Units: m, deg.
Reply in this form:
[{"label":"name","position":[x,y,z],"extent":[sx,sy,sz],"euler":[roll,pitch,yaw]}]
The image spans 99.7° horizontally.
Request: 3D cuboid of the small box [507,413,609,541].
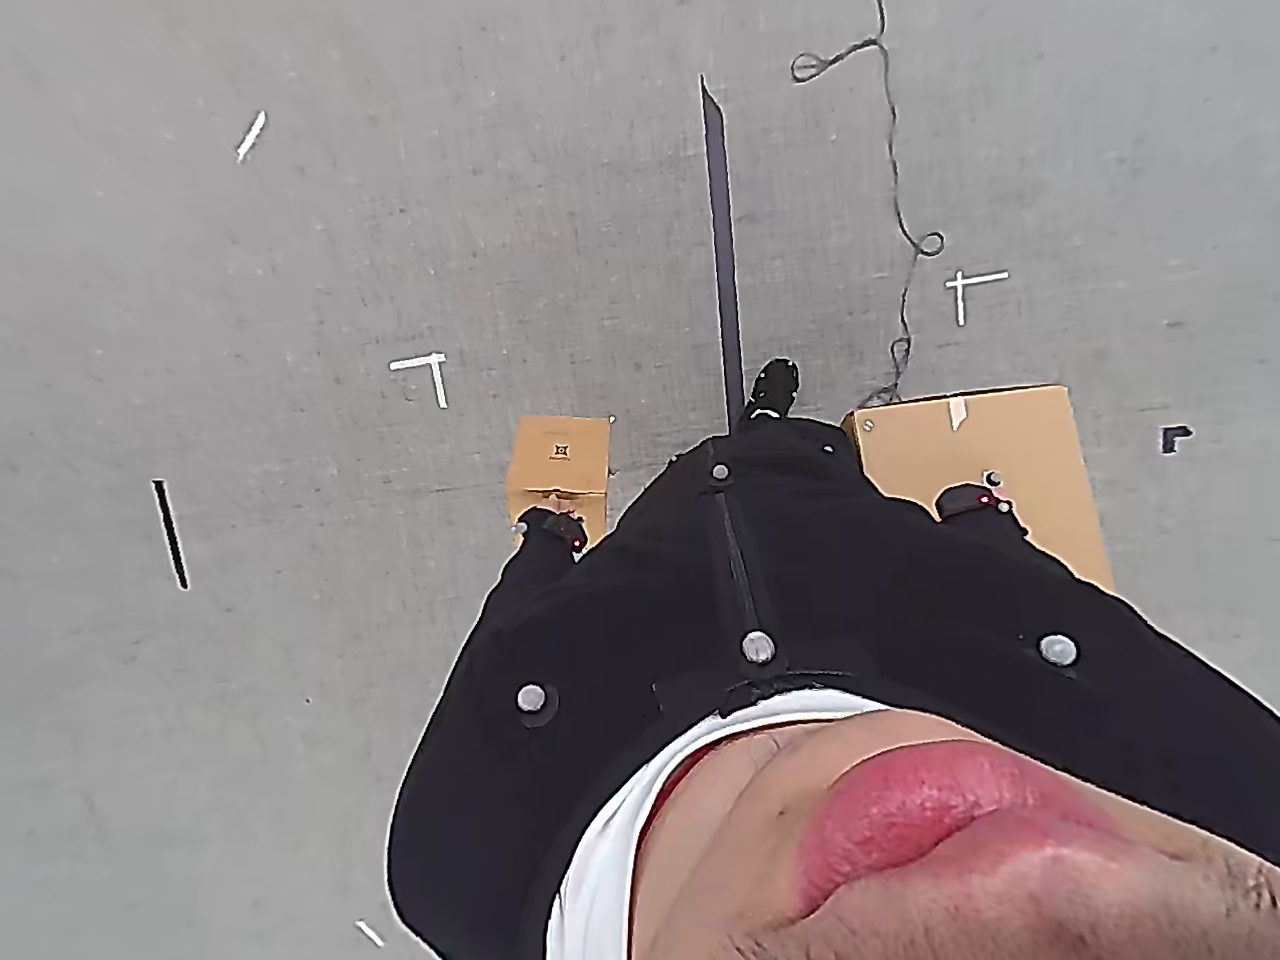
[{"label":"small box","position":[-0.144,-0.002,1.001],"extent":[0.168,0.179,0.176],"euler":[3,141,-4]}]
